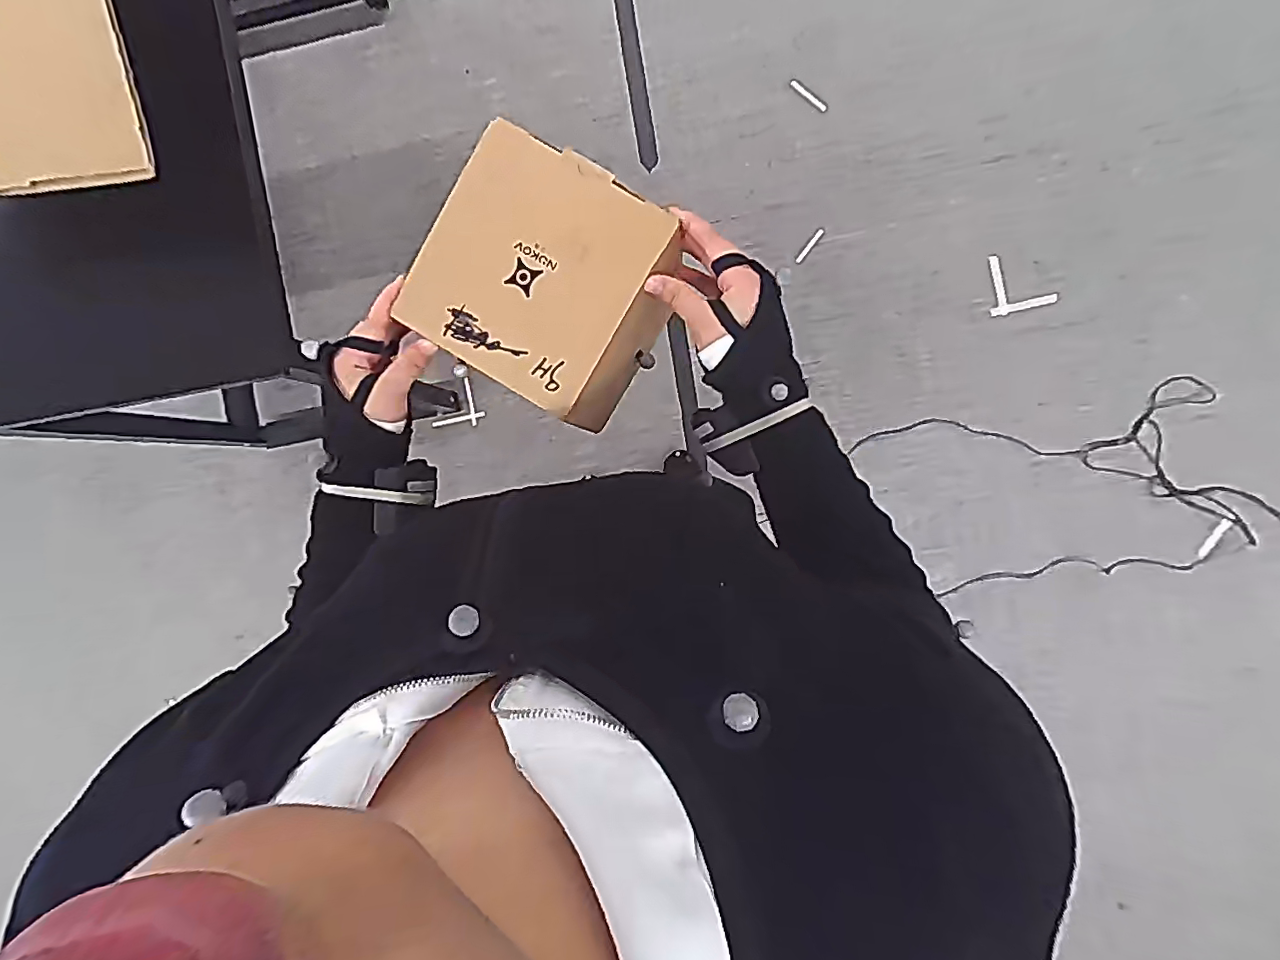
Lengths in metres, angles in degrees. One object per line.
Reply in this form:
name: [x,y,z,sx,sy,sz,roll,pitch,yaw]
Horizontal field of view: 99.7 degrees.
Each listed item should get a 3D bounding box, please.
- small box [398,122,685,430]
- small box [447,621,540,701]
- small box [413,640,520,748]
small box: [-0.072,-0.163,0.493,0.168,0.176,0.179,31,93,5]
small box: [-0.386,0.494,1.450,0.179,0.176,0.168,-13,91,3]
small box: [-0.401,0.500,1.288,0.179,0.176,0.168,-17,90,5]
